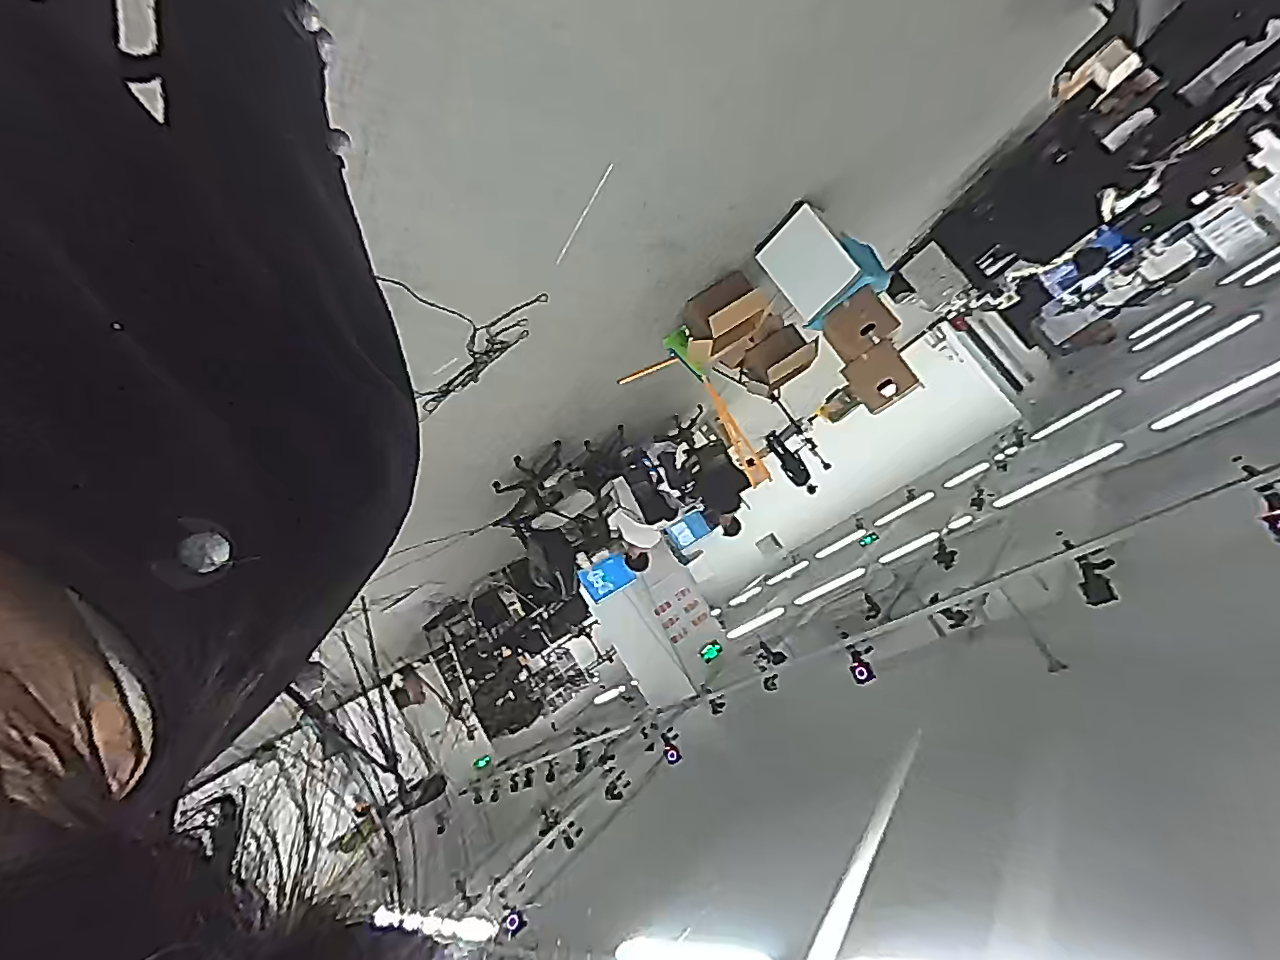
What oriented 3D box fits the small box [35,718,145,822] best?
[{"bbox_3d":[-1.447,0.759,1.426,0.168,0.176,0.179,-22,167,-49],"label":"small box"}]
